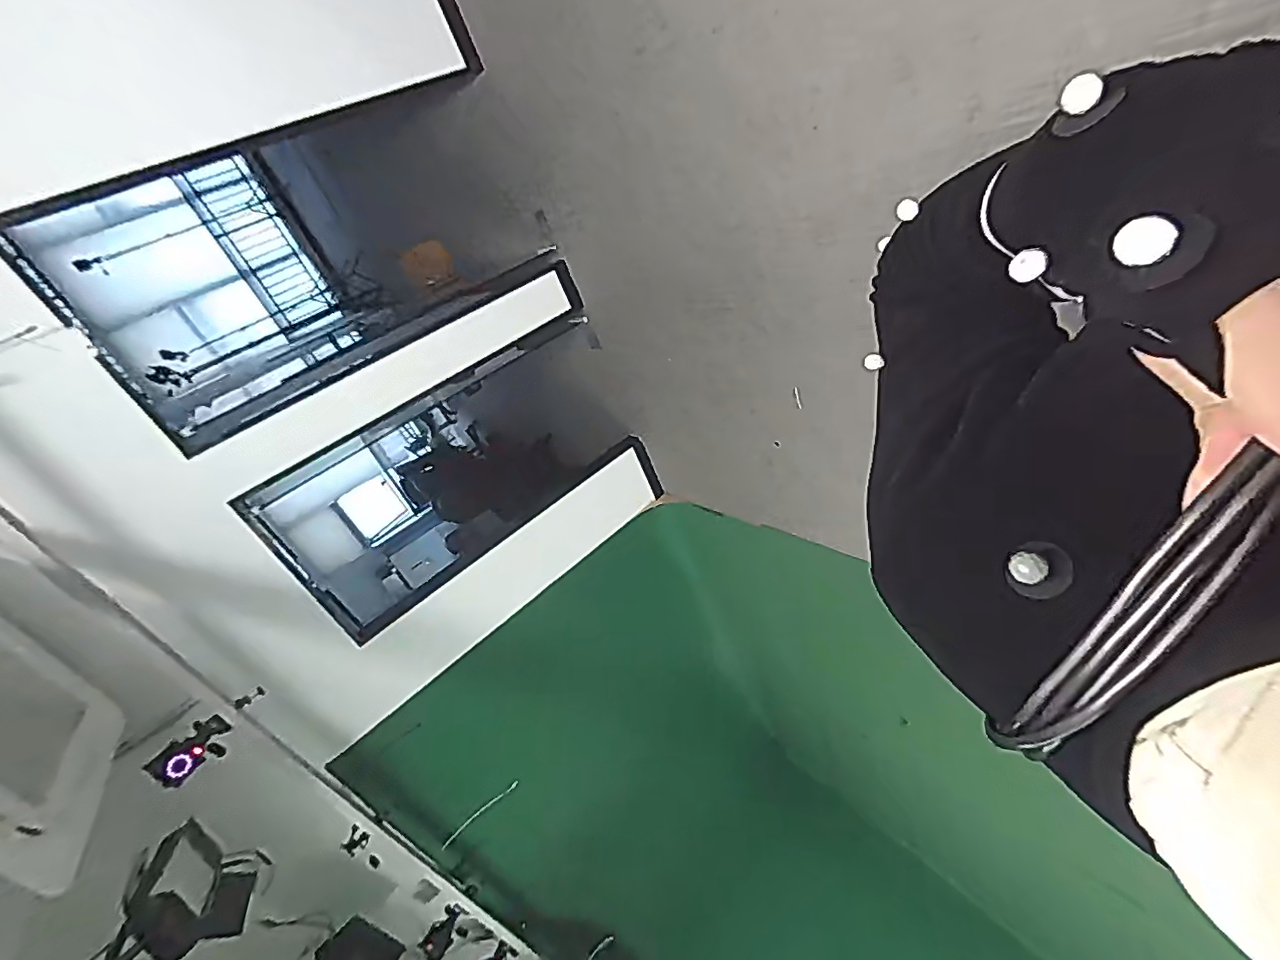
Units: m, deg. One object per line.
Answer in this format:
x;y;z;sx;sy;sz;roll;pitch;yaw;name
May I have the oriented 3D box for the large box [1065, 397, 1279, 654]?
1.152;0.072;1.145;0.320;0.320;0.408;16;138;53;large box
